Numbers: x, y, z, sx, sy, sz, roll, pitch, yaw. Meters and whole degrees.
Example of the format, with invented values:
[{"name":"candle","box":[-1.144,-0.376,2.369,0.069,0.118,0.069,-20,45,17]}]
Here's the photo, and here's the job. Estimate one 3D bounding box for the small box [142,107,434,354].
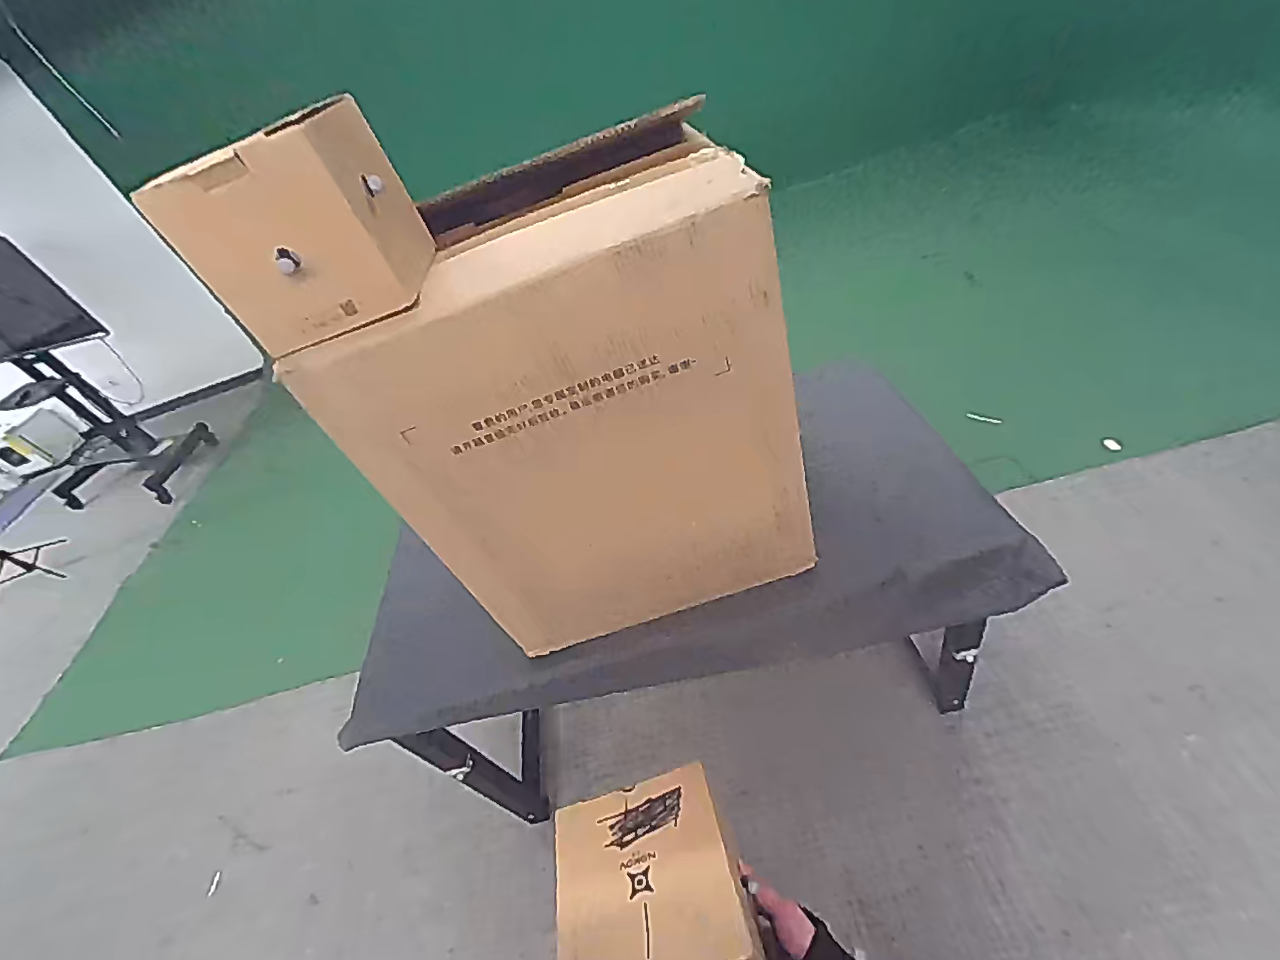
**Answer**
[{"name":"small box","box":[-0.340,-0.254,0.569,0.168,0.176,0.179,-19,42,5]}]
